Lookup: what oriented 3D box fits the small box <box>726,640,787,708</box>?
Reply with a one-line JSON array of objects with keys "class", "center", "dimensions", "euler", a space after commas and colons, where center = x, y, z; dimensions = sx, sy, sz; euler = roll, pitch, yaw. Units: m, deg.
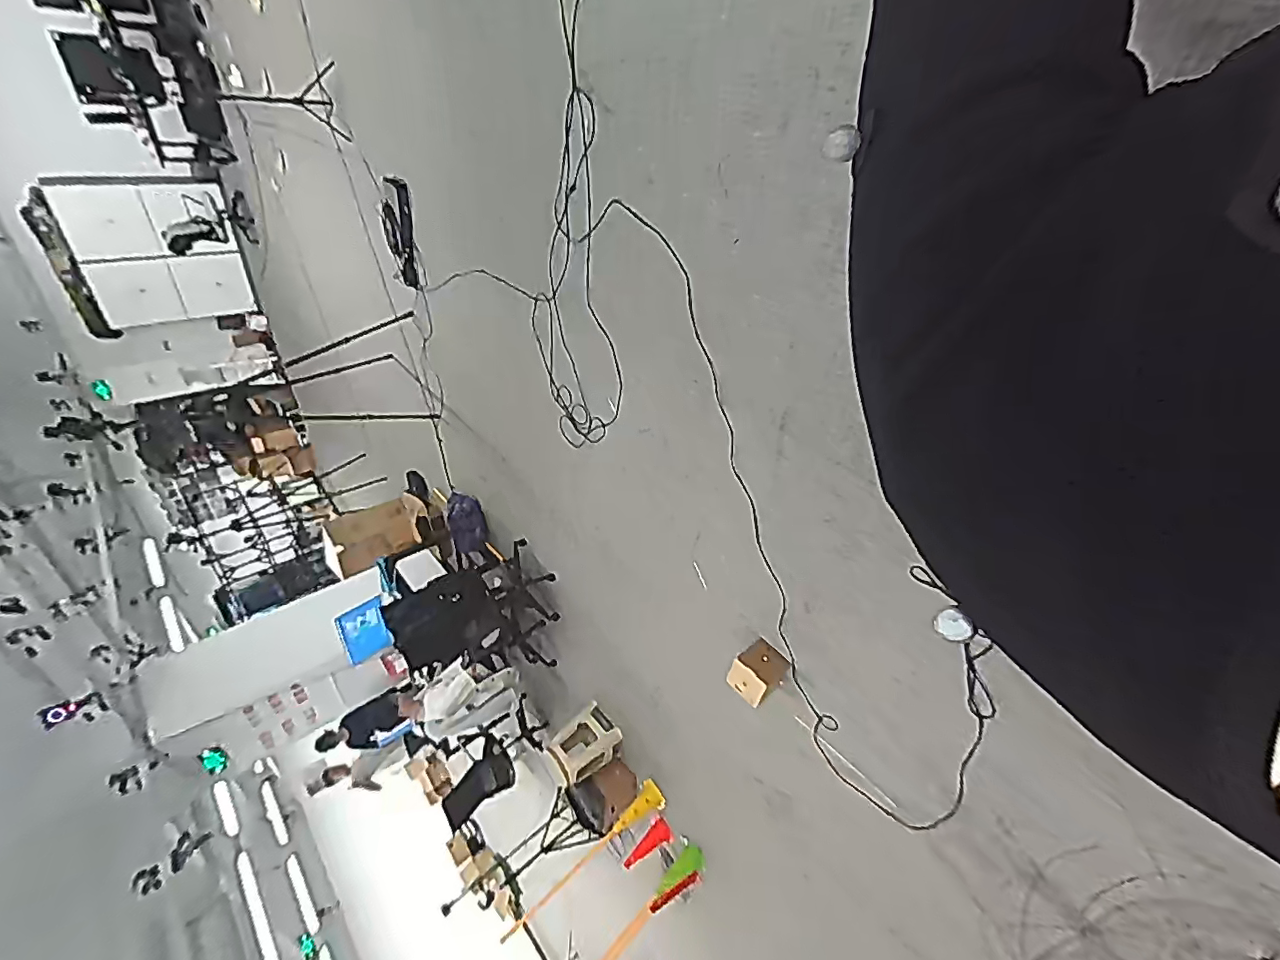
[{"class": "small box", "center": [0.492, 0.807, 2.267], "dimensions": [0.168, 0.176, 0.179], "euler": [39, 136, 31]}]
